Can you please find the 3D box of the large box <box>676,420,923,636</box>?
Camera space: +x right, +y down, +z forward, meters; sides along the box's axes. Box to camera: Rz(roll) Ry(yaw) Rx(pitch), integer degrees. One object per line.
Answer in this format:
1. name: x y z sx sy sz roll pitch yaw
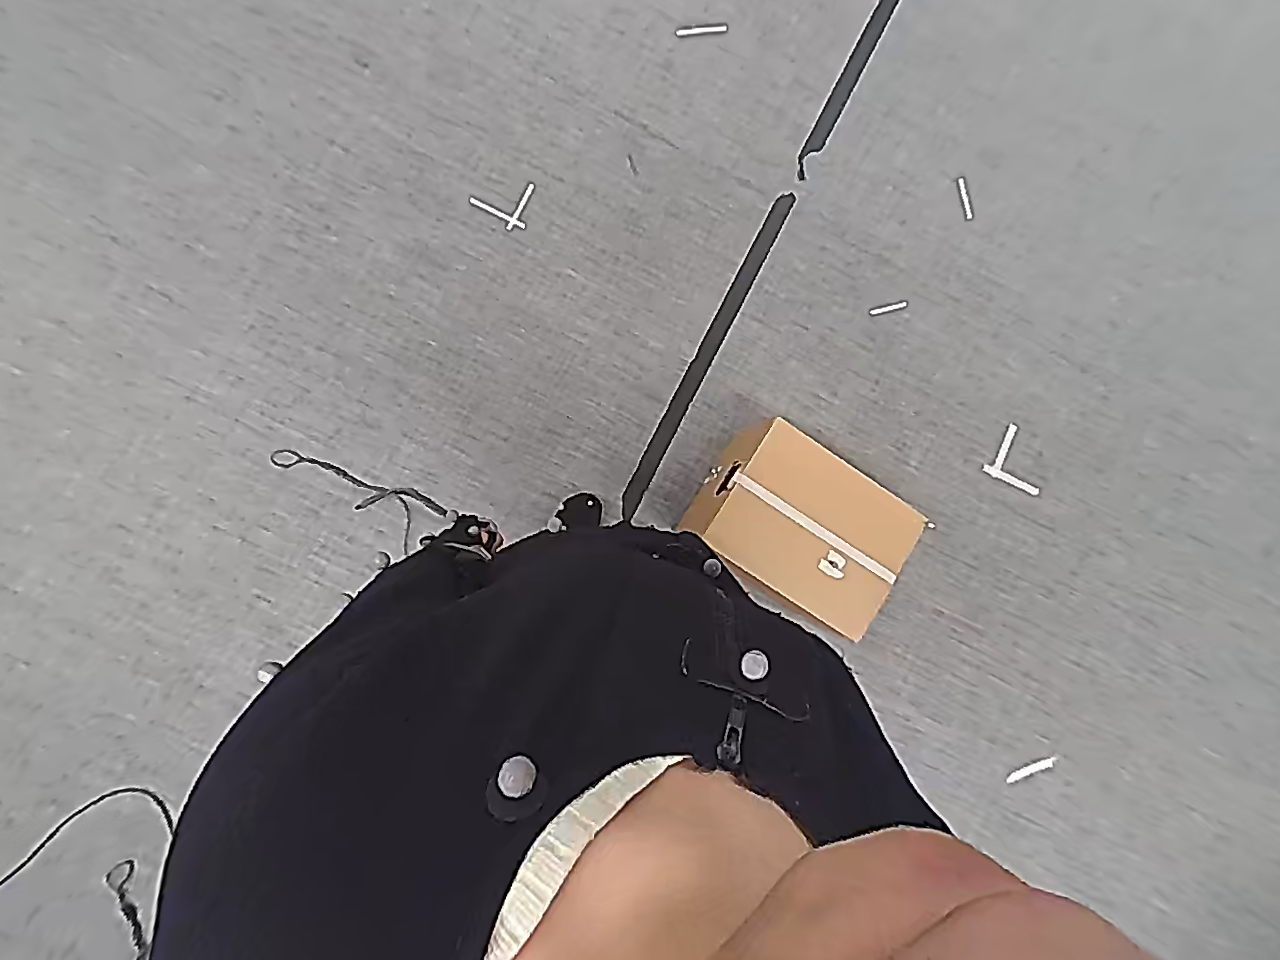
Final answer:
1. large box: 0.351 0.106 1.285 0.408 0.320 0.320 33 85 -5
